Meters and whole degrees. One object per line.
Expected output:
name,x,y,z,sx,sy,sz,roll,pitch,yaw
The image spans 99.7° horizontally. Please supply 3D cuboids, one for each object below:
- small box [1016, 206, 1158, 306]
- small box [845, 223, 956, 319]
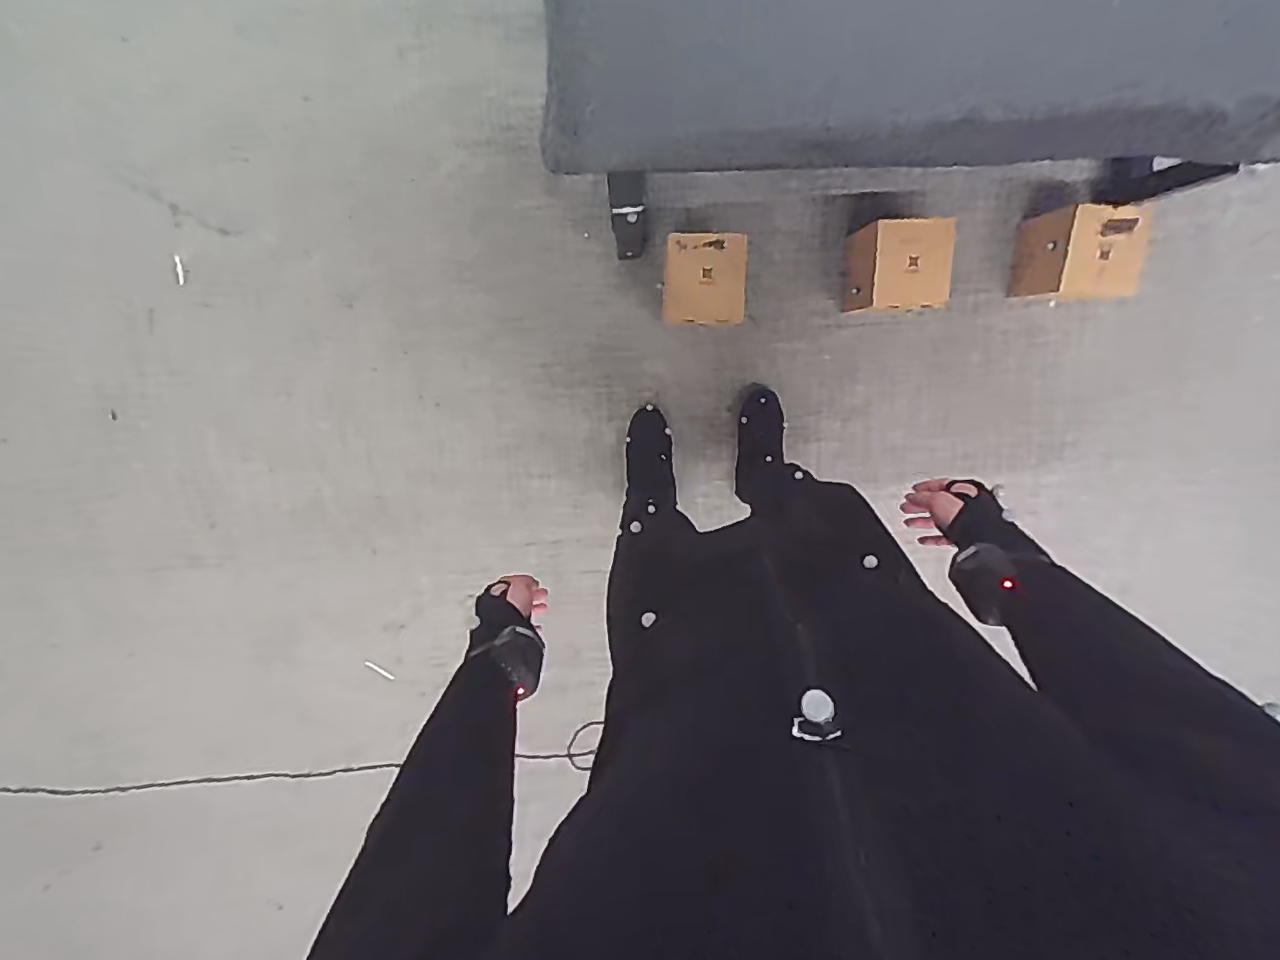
small box,0.973,-0.488,1.195,0.168,0.176,0.179,1,103,0
small box,0.572,-0.457,1.207,0.168,0.176,0.179,-3,100,-1
